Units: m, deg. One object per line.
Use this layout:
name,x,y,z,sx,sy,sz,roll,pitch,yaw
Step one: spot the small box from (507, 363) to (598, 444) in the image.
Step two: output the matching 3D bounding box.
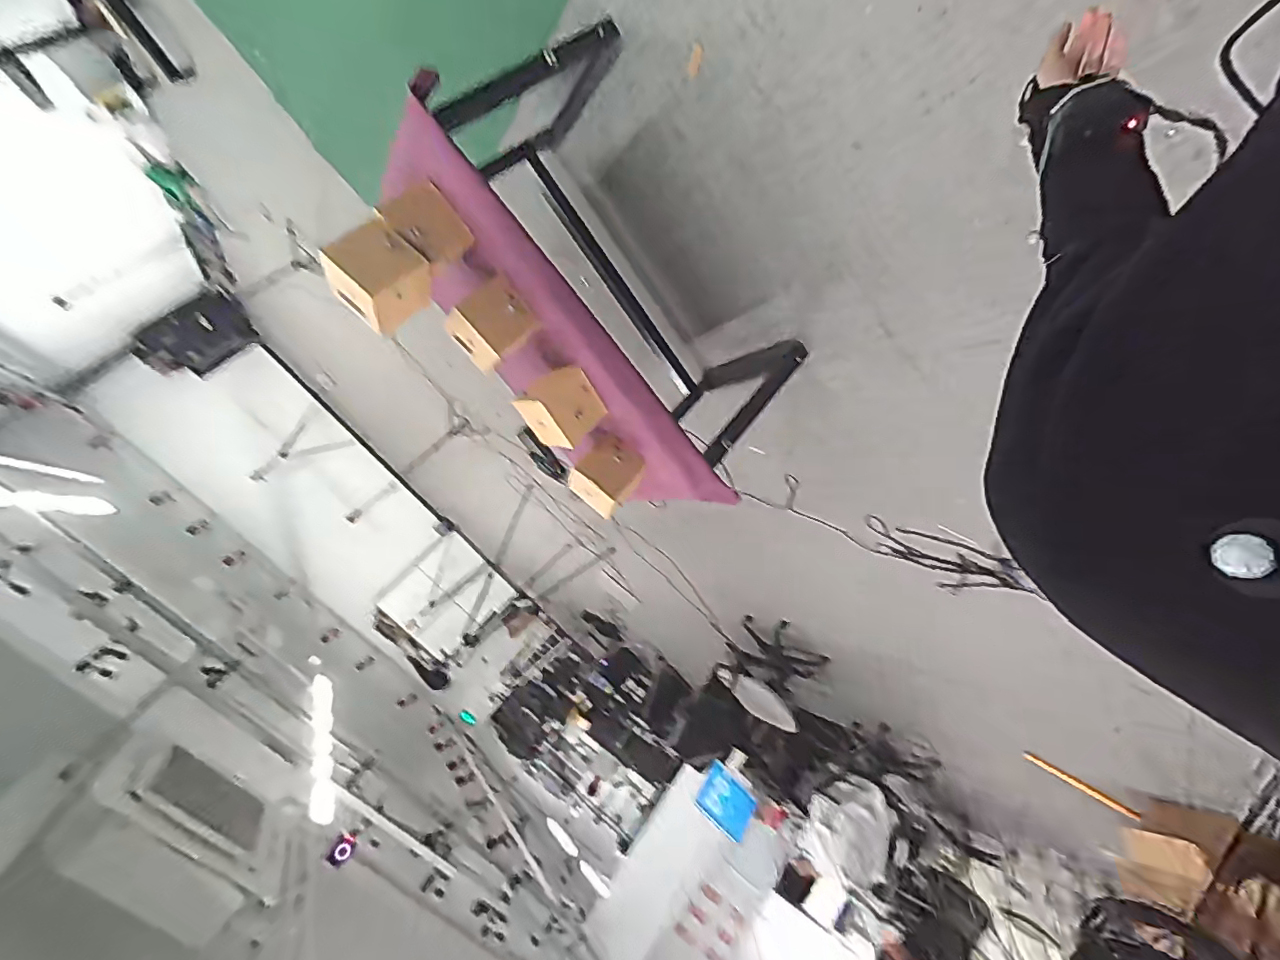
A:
small box,-0.246,-0.225,1.573,0.179,0.176,0.168,10,142,49

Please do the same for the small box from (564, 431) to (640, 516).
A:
small box,-0.120,-0.020,1.715,0.168,0.176,0.179,39,155,5

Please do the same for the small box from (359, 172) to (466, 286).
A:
small box,-0.574,-0.634,1.373,0.179,0.176,0.168,51,154,-21

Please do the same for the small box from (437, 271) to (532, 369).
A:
small box,-0.424,-0.436,1.482,0.168,0.176,0.179,49,154,-16
